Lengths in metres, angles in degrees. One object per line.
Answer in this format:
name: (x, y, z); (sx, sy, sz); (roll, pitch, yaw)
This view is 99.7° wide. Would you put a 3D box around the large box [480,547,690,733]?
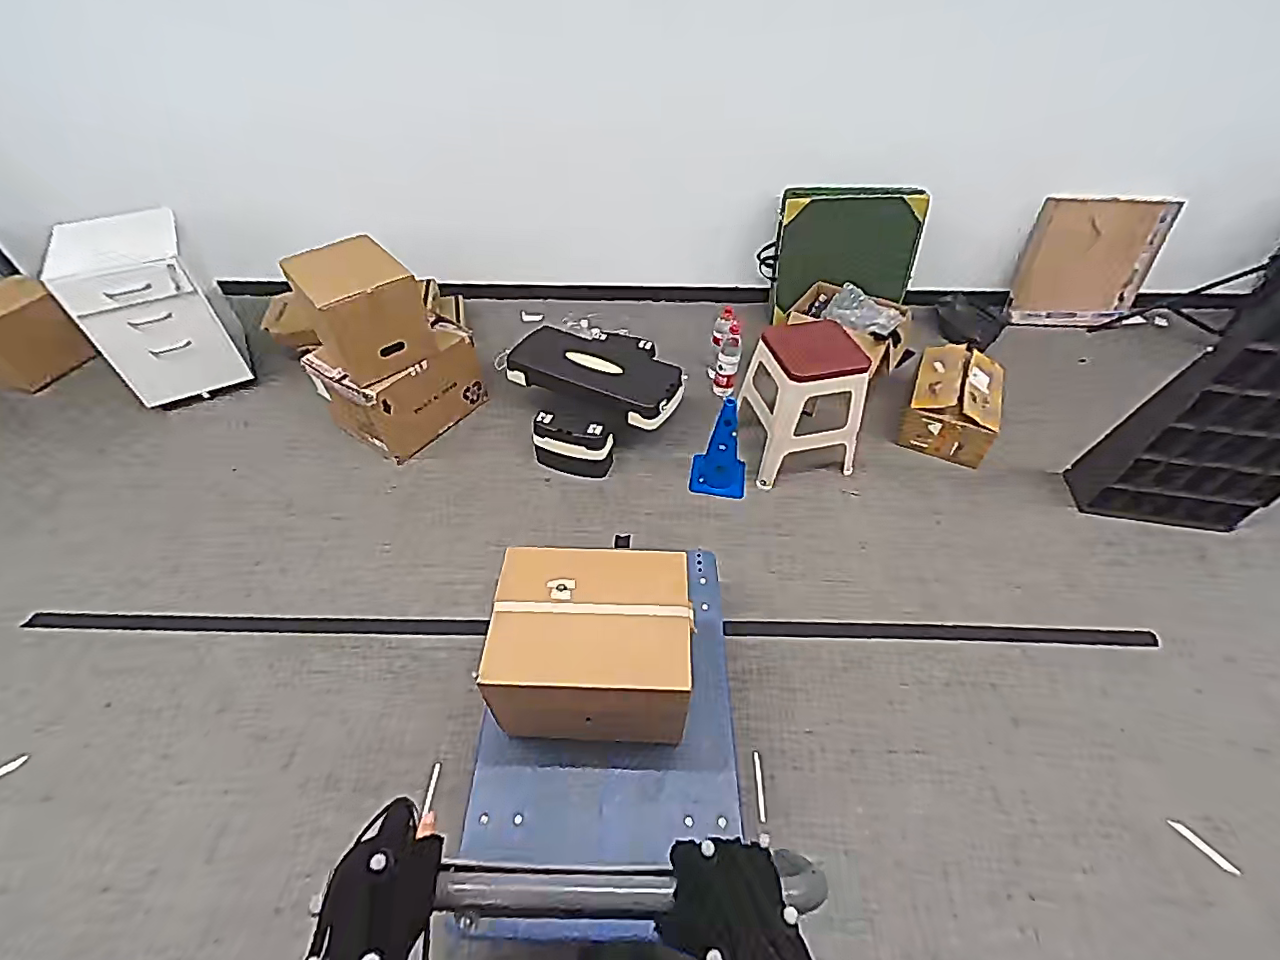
large box: (-0.100, 0.366, 1.225); (0.408, 0.320, 0.320); (2, 48, 1)
